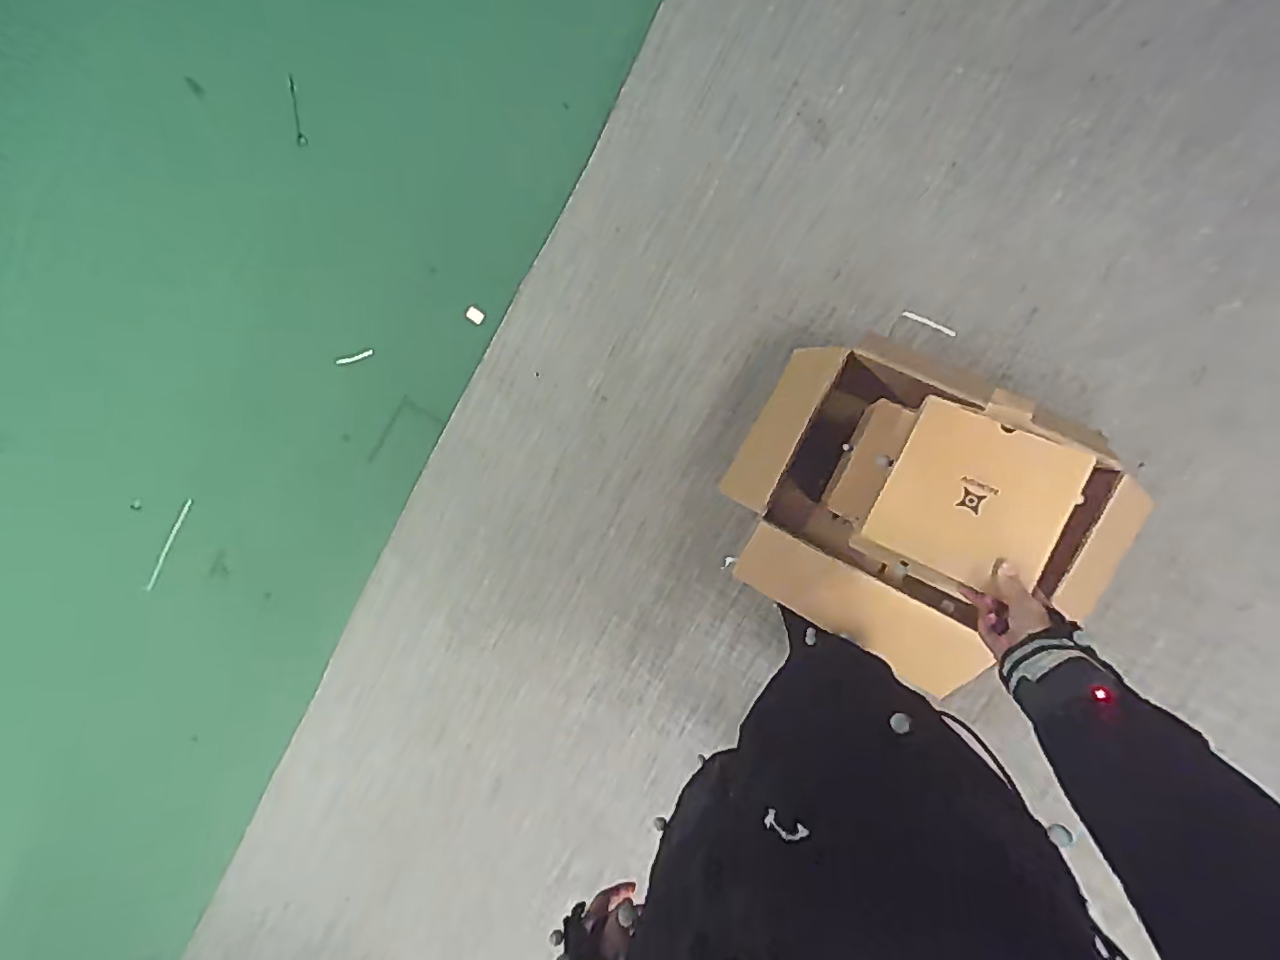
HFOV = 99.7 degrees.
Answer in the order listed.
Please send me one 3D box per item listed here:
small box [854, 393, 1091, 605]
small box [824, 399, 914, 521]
[{"bbox_3d":[0.364,0.031,0.632,0.168,0.176,0.179,26,86,21],"label":"small box"},{"bbox_3d":[0.404,-0.007,0.854,0.168,0.176,0.179,26,96,13],"label":"small box"}]
